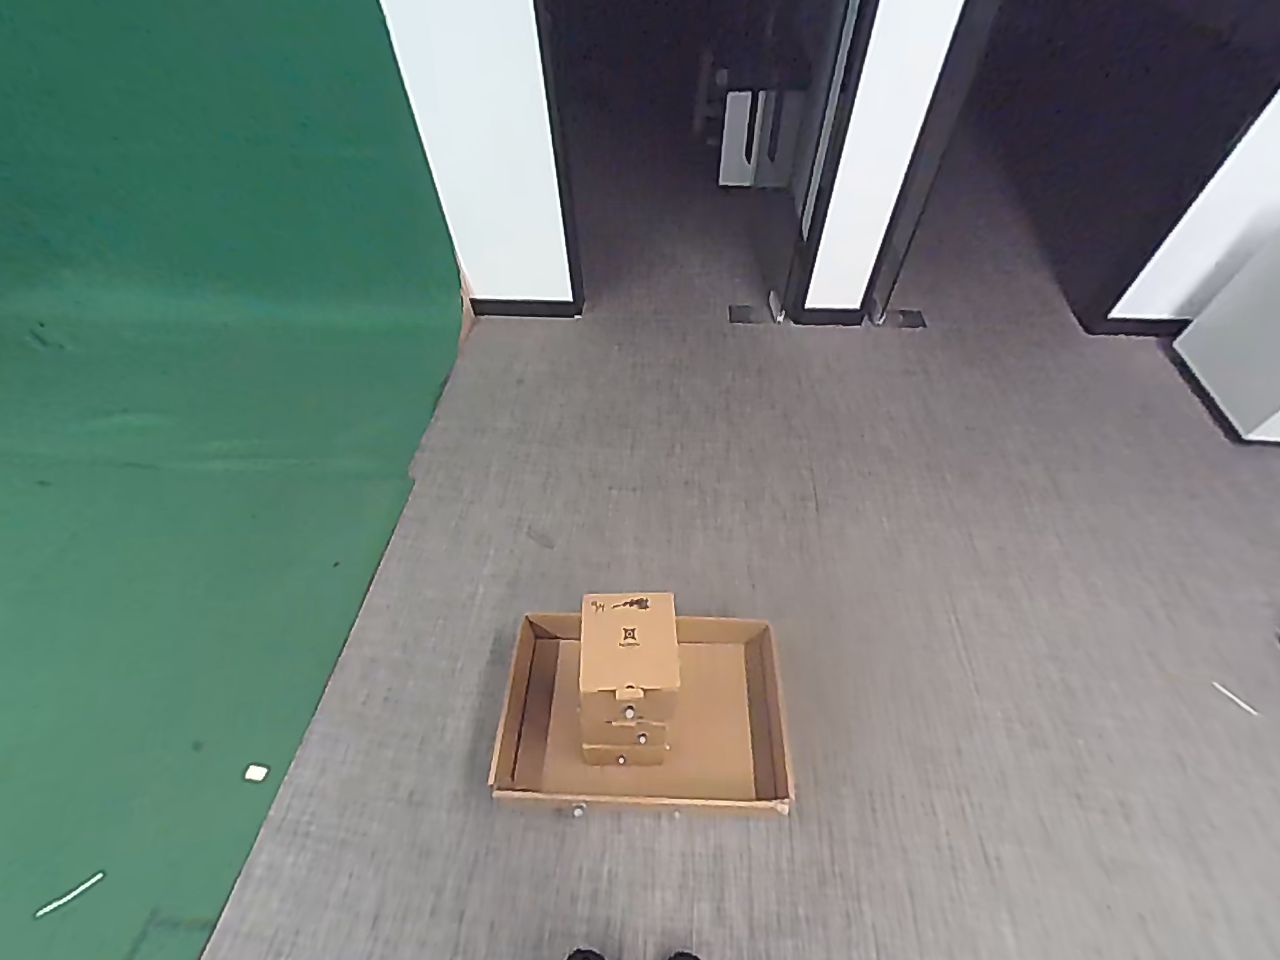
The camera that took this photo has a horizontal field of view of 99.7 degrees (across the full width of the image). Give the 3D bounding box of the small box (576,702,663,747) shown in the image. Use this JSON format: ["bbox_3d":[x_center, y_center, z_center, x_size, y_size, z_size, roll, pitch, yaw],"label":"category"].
[{"bbox_3d":[-0.035,0.433,1.106,0.168,0.176,0.179,3,49,0],"label":"small box"}]

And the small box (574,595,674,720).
[{"bbox_3d":[-0.025,0.326,0.983,0.168,0.176,0.179,1,51,-1],"label":"small box"}]

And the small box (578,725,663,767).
[{"bbox_3d":[-0.038,0.542,1.225,0.179,0.176,0.168,0,50,2],"label":"small box"}]
